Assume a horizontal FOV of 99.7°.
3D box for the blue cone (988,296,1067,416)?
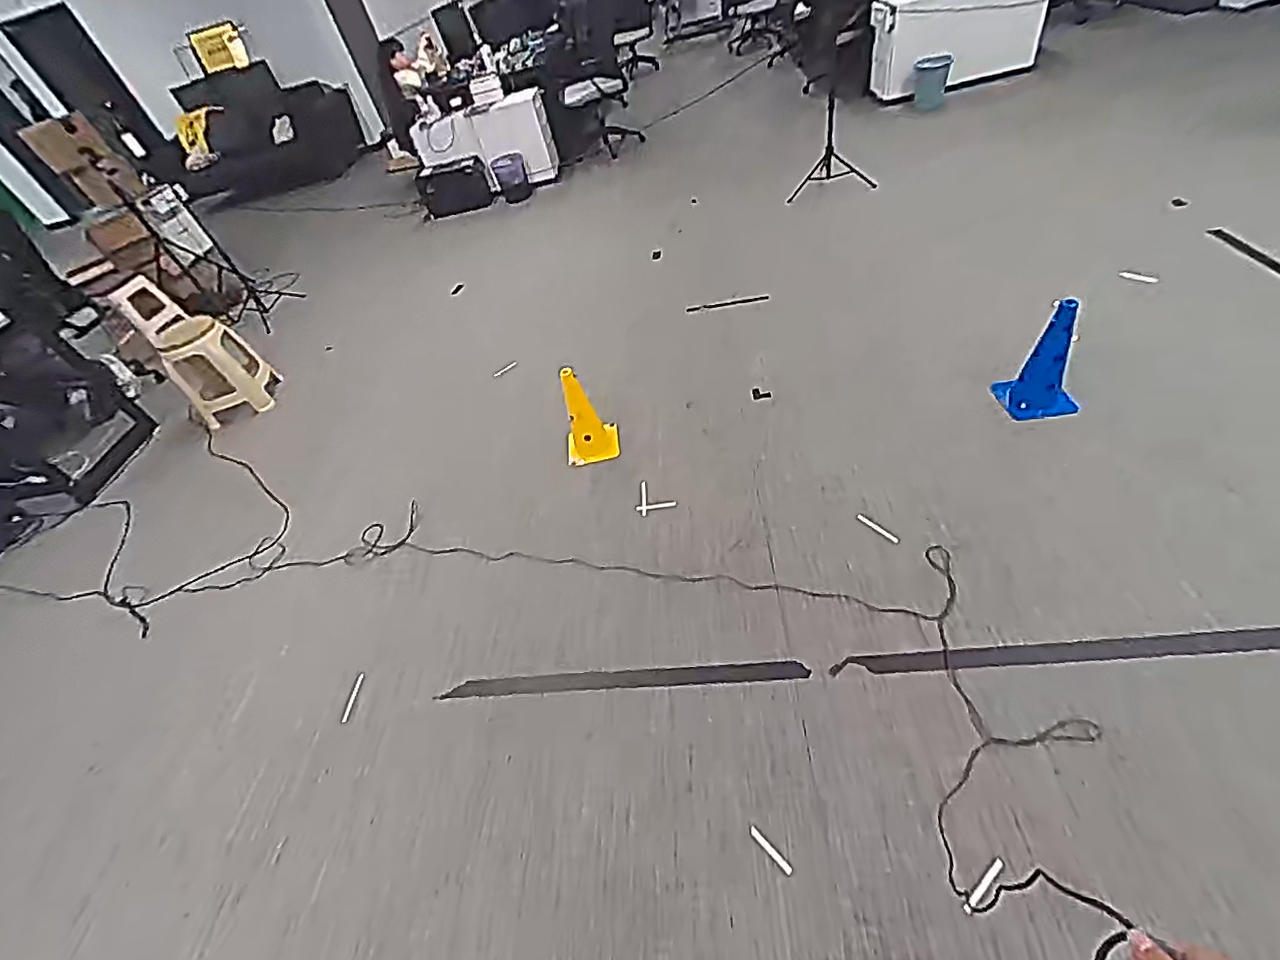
[{"bbox_3d":[1.275,-0.398,1.716,0.193,0.380,0.192,-7,44,10],"label":"blue cone"}]
